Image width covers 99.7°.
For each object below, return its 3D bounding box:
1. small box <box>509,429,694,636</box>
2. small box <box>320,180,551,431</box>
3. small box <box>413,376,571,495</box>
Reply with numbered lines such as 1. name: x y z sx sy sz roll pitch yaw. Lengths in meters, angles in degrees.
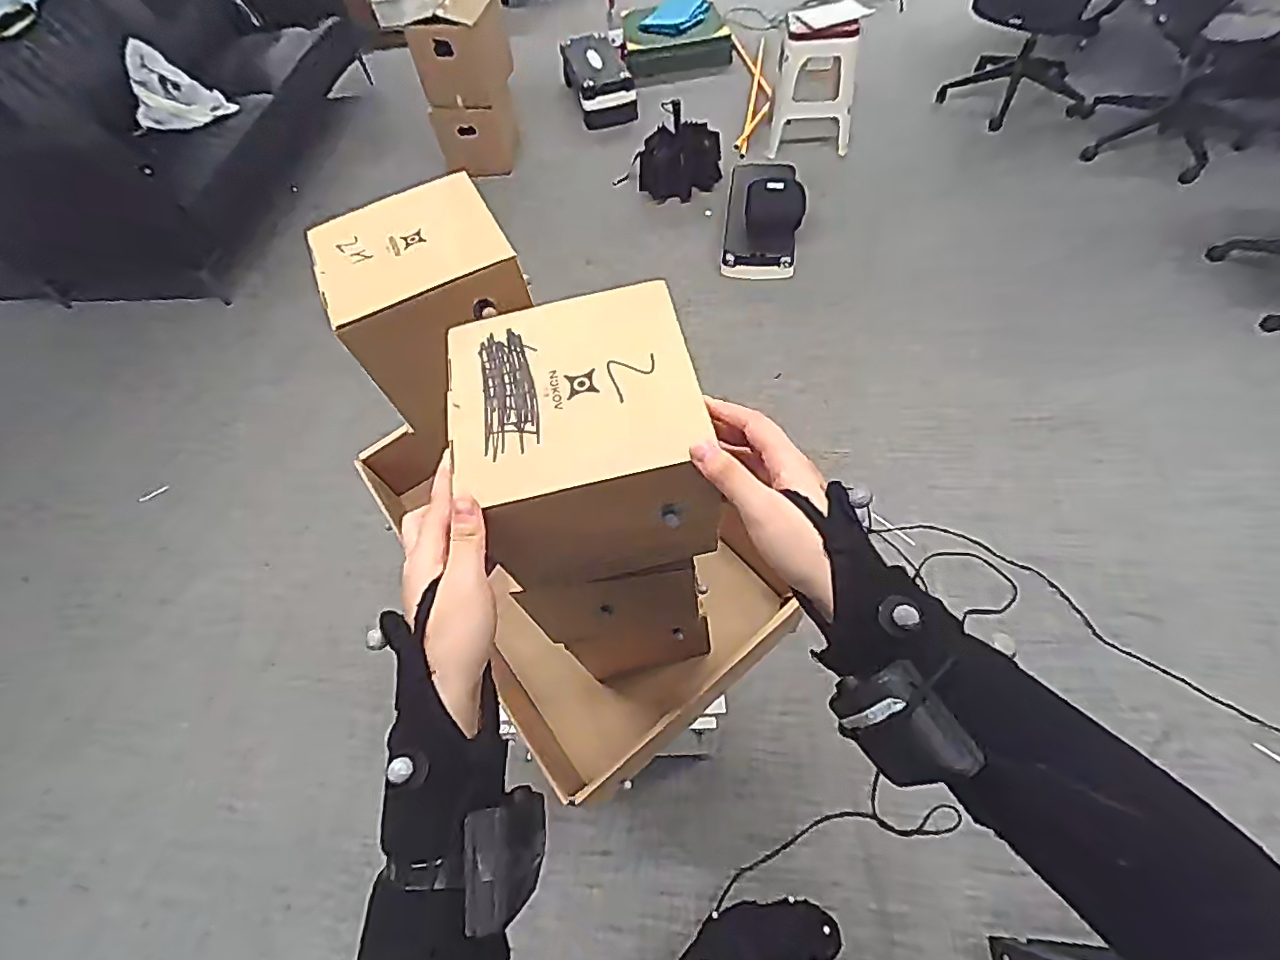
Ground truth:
1. small box: -0.034 0.066 0.615 0.179 0.176 0.168 -9 56 4
2. small box: -0.212 -0.187 0.602 0.179 0.176 0.168 -26 59 -7
3. small box: -0.208 -0.111 0.749 0.168 0.176 0.179 -23 60 -5
